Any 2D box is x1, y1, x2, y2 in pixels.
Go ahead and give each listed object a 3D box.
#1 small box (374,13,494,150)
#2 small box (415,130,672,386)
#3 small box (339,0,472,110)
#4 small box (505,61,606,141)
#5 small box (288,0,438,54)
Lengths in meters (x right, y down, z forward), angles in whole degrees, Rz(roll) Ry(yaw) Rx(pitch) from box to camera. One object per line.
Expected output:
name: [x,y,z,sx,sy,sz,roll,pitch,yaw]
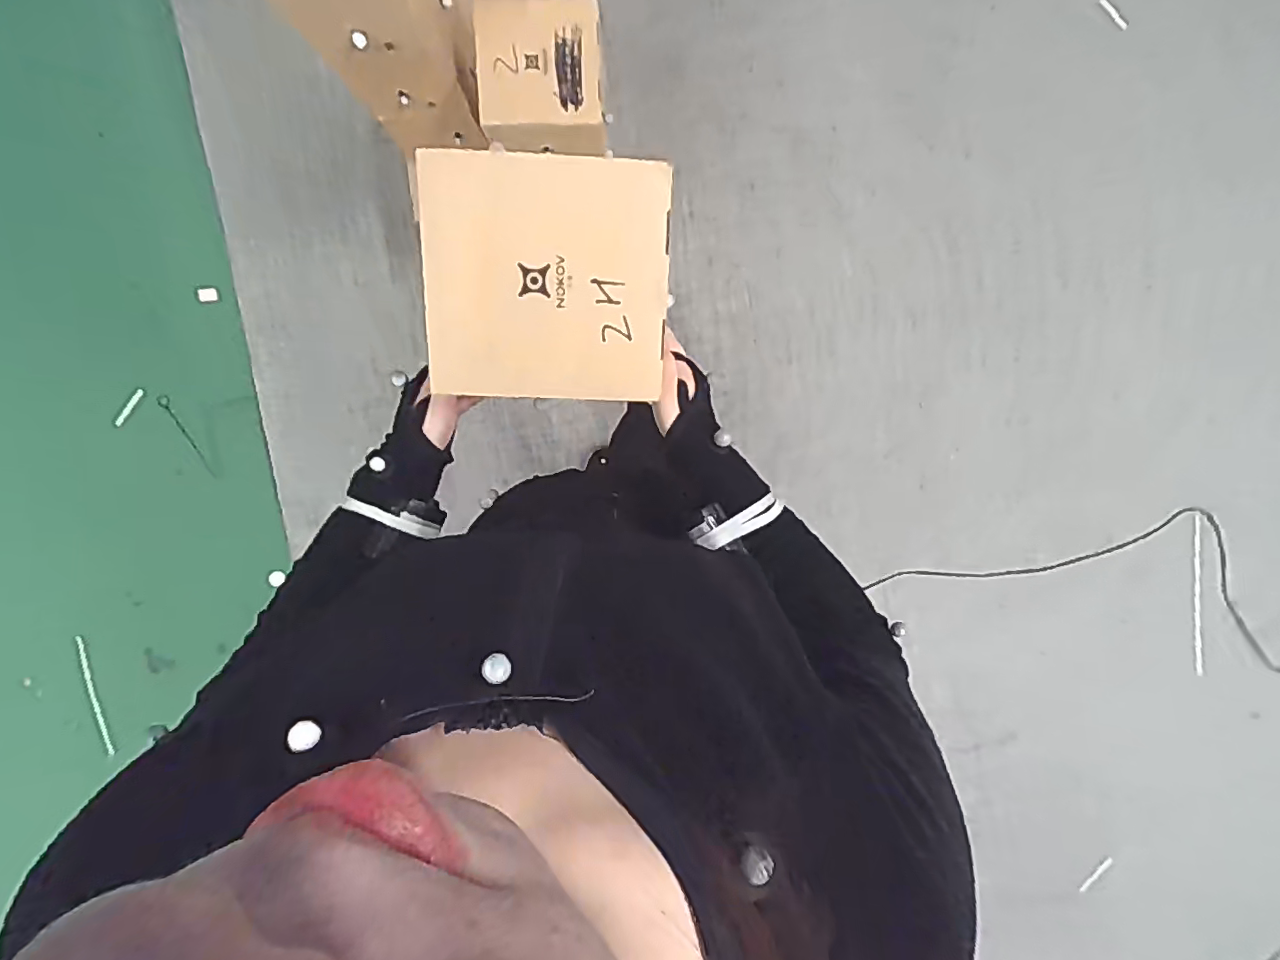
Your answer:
small box: [-0.373,-0.721,0.990,0.168,0.176,0.179,-4,95,0]
small box: [-0.071,-0.173,0.462,0.179,0.176,0.168,2,105,-3]
small box: [-0.367,-0.707,0.827,0.168,0.176,0.179,-4,98,0]
small box: [-0.148,-0.627,1.000,0.168,0.176,0.179,-2,96,0]
small box: [-0.365,-0.675,0.666,0.168,0.176,0.179,-4,97,0]
